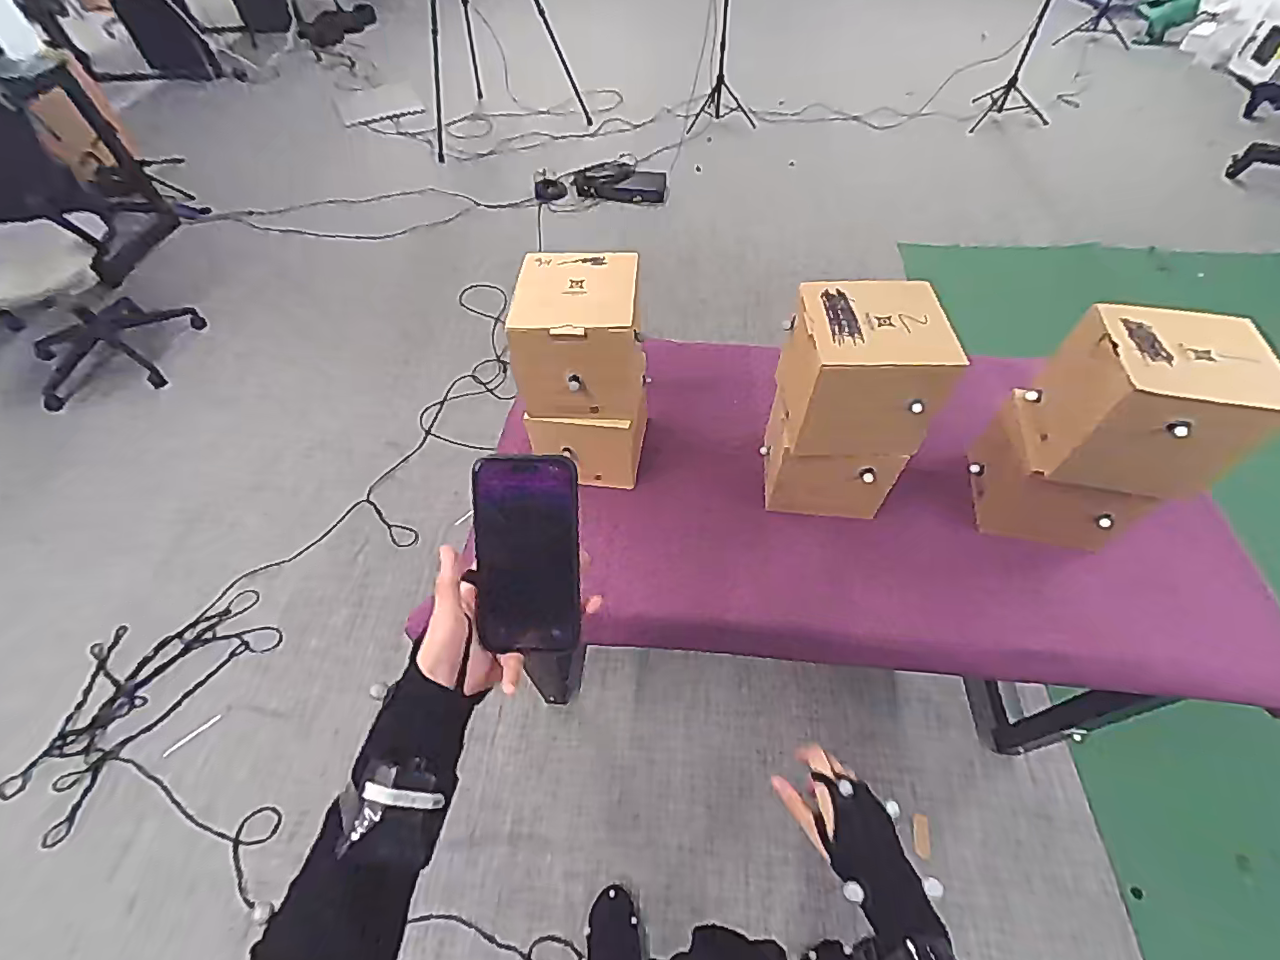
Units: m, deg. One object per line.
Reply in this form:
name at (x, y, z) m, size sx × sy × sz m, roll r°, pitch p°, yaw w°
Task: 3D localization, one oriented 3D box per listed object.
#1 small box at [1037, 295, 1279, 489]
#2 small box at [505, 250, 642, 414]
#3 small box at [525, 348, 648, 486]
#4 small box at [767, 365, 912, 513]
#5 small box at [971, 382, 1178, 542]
small box at (0.641, -0.107, 0.682) m, size 0.179 × 0.176 × 0.168 m, roll 10°, pitch 54°, yaw 9°
small box at (-0.084, -0.213, 0.794) m, size 0.168 × 0.176 × 0.179 m, roll 1°, pitch 54°, yaw 3°
small box at (-0.079, -0.108, 0.921) m, size 0.168 × 0.176 × 0.179 m, roll 5°, pitch 54°, yaw 6°
small box at (0.305, -0.062, 0.866) m, size 0.179 × 0.176 × 0.168 m, roll 4°, pitch 54°, yaw 6°
small box at (0.641, -0.023, 0.823) m, size 0.179 × 0.176 × 0.168 m, roll 10°, pitch 54°, yaw 10°
